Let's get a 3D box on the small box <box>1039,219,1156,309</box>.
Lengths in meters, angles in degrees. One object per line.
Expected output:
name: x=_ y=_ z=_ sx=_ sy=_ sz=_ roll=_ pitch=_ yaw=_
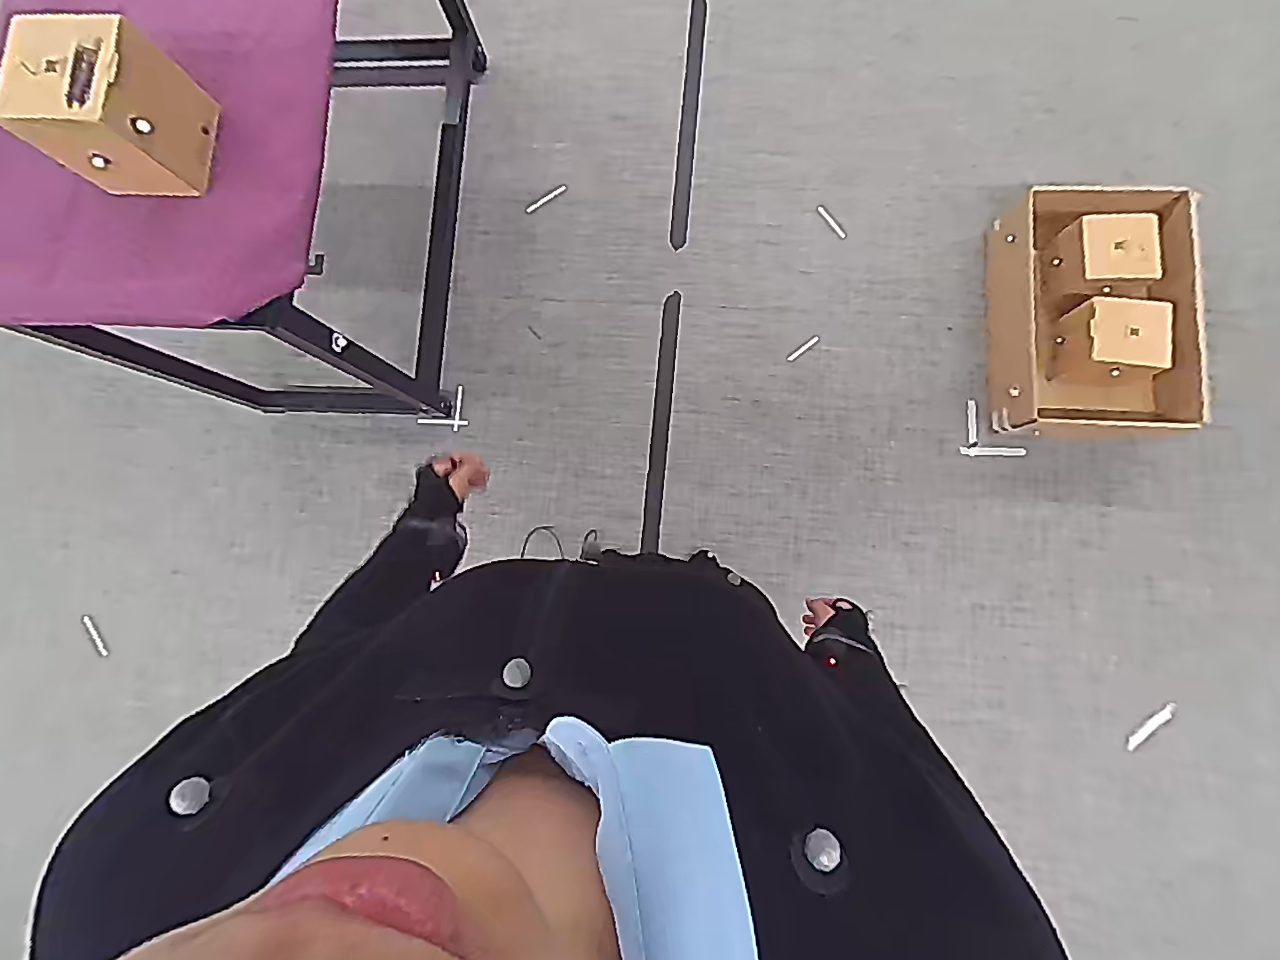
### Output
small box: x=1.172 y=-0.554 z=1.402 sx=0.179 sy=0.176 sz=0.168 roll=1 pitch=85 yaw=4

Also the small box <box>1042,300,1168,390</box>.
small box: x=1.178 y=-0.337 z=1.378 sx=0.179 sy=0.176 sz=0.168 roll=8 pitch=83 yaw=5
